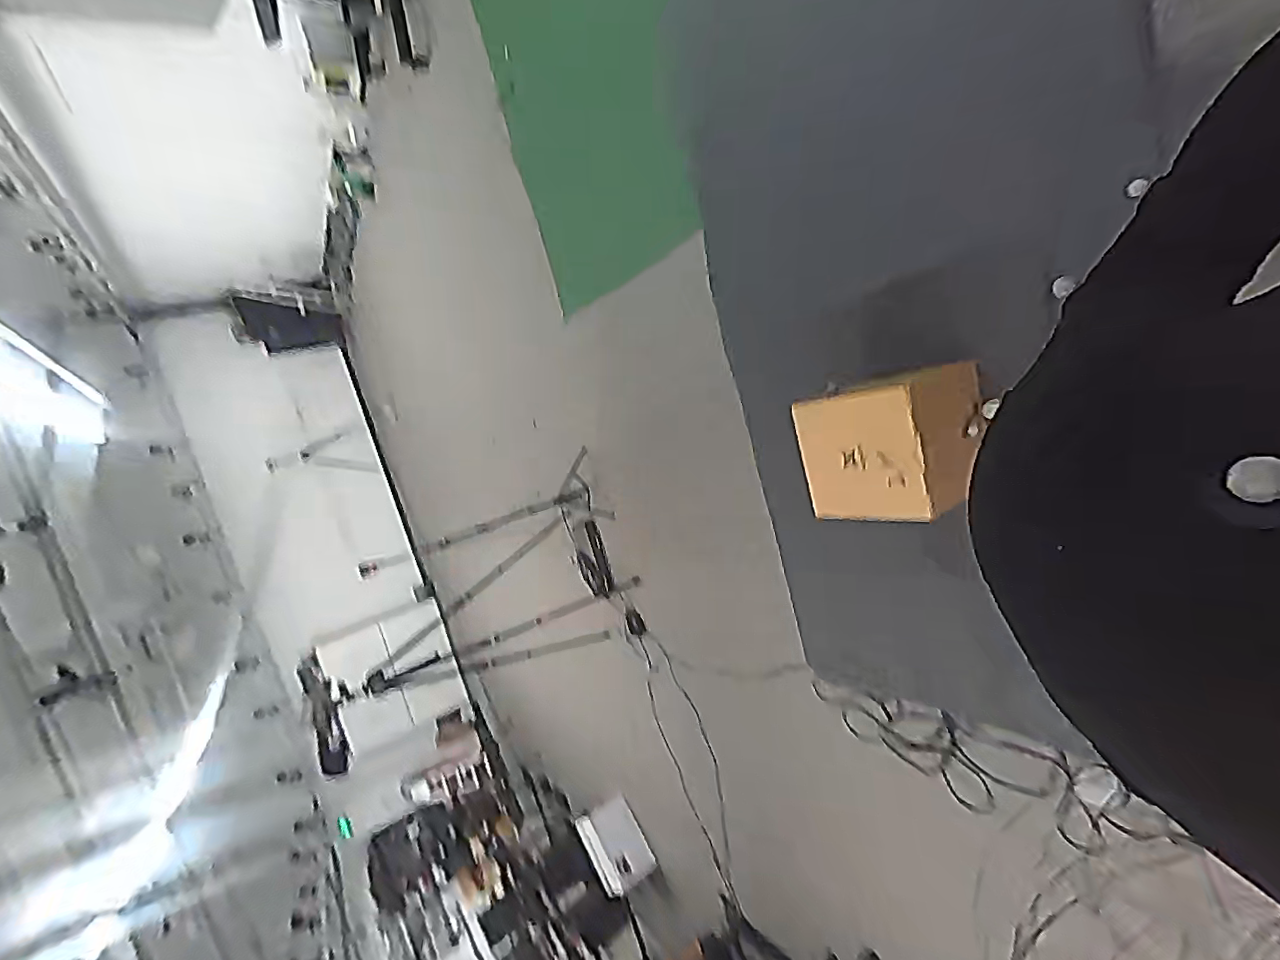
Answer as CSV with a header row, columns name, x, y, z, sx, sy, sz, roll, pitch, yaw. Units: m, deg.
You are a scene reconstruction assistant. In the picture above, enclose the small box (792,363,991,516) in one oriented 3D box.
name,x,y,z,sx,sy,sz,roll,pitch,yaw
small box,0.348,-0.055,0.753,0.179,0.176,0.168,-4,104,57
